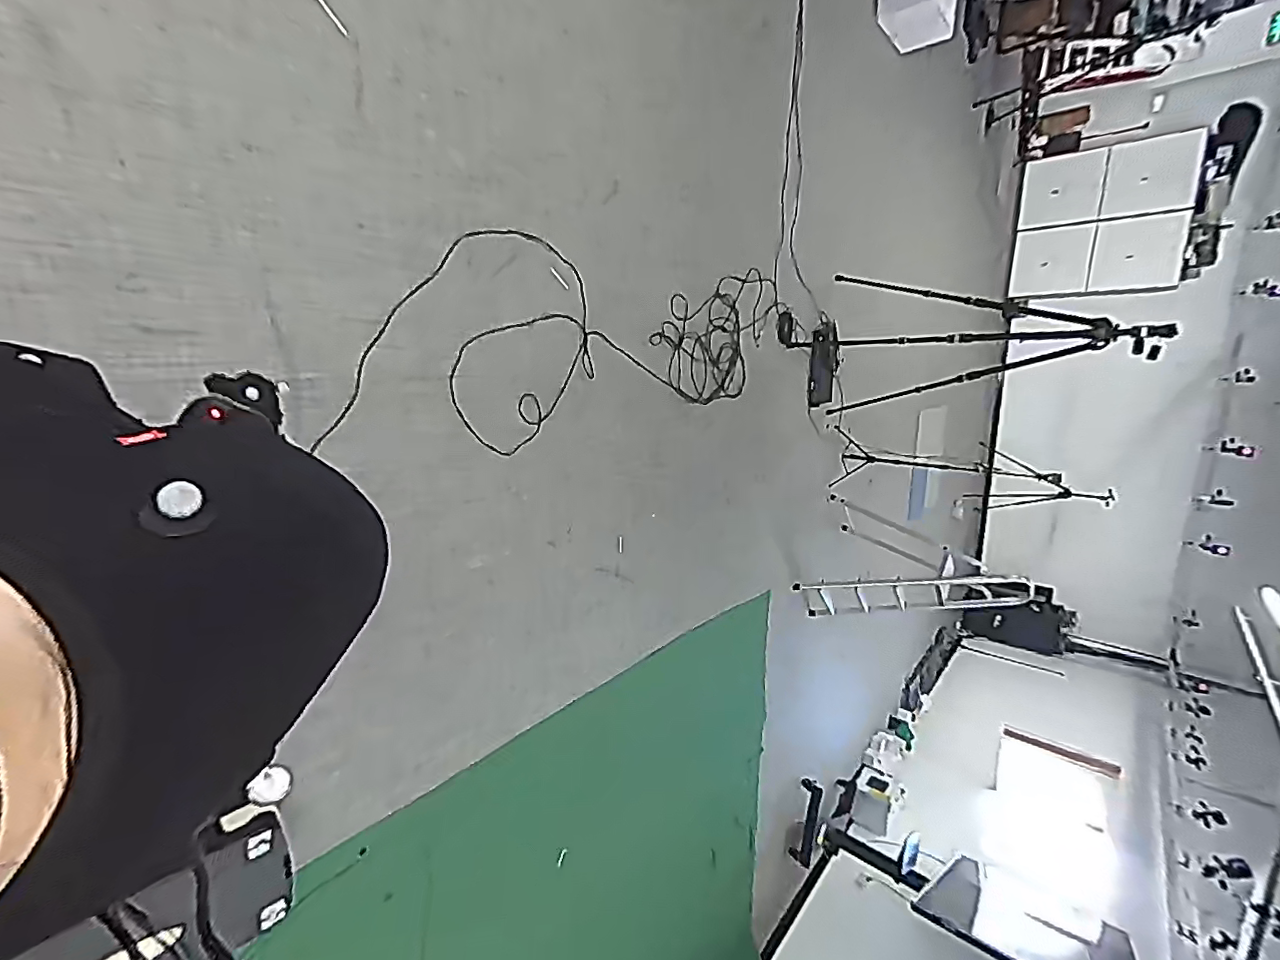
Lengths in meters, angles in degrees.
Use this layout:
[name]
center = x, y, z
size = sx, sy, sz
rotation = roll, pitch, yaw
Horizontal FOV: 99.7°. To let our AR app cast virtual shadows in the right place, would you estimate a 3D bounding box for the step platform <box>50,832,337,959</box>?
[step platform]
center = -0.964, 1.000, 0.996
size = 0.684, 0.204, 0.286
rotation = -14, 108, -49
